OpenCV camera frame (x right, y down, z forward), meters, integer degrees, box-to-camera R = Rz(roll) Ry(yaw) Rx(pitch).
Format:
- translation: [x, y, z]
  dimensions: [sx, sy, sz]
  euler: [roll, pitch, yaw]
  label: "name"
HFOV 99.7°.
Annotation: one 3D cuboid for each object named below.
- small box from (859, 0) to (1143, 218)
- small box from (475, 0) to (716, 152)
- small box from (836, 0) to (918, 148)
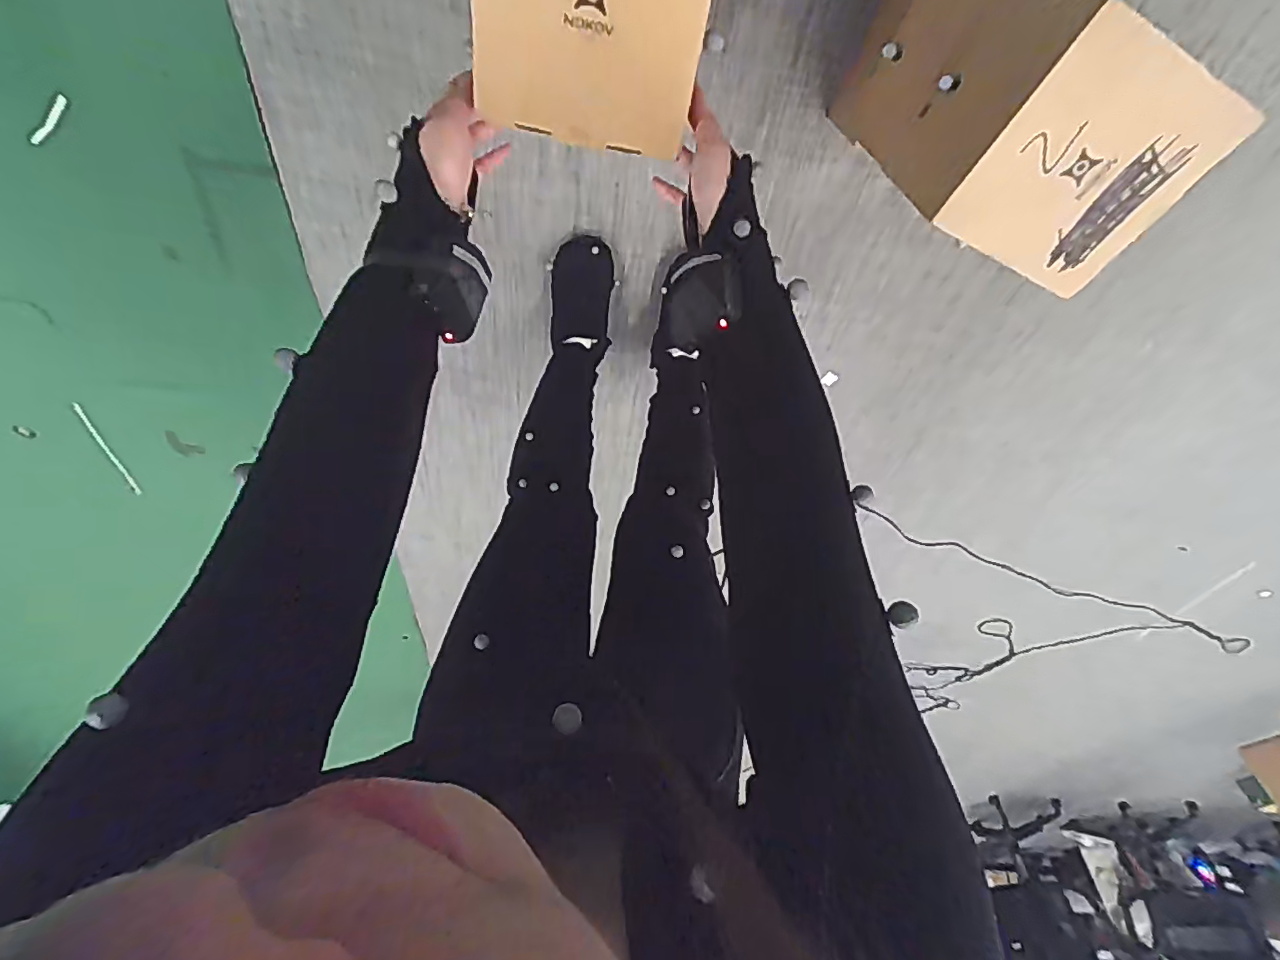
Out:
- translation: [0.368, -0.434, 0.596]
  dimensions: [0.168, 0.176, 0.179]
  euler: [17, 134, -15]
  label: "small box"
- translation: [-0.028, -0.392, 0.422]
  dimensions: [0.168, 0.176, 0.179]
  euler: [9, 135, -7]
  label: "small box"
- translation: [0.388, -0.538, 0.721]
  dimensions: [0.168, 0.176, 0.179]
  euler: [14, 134, -12]
  label: "small box"
